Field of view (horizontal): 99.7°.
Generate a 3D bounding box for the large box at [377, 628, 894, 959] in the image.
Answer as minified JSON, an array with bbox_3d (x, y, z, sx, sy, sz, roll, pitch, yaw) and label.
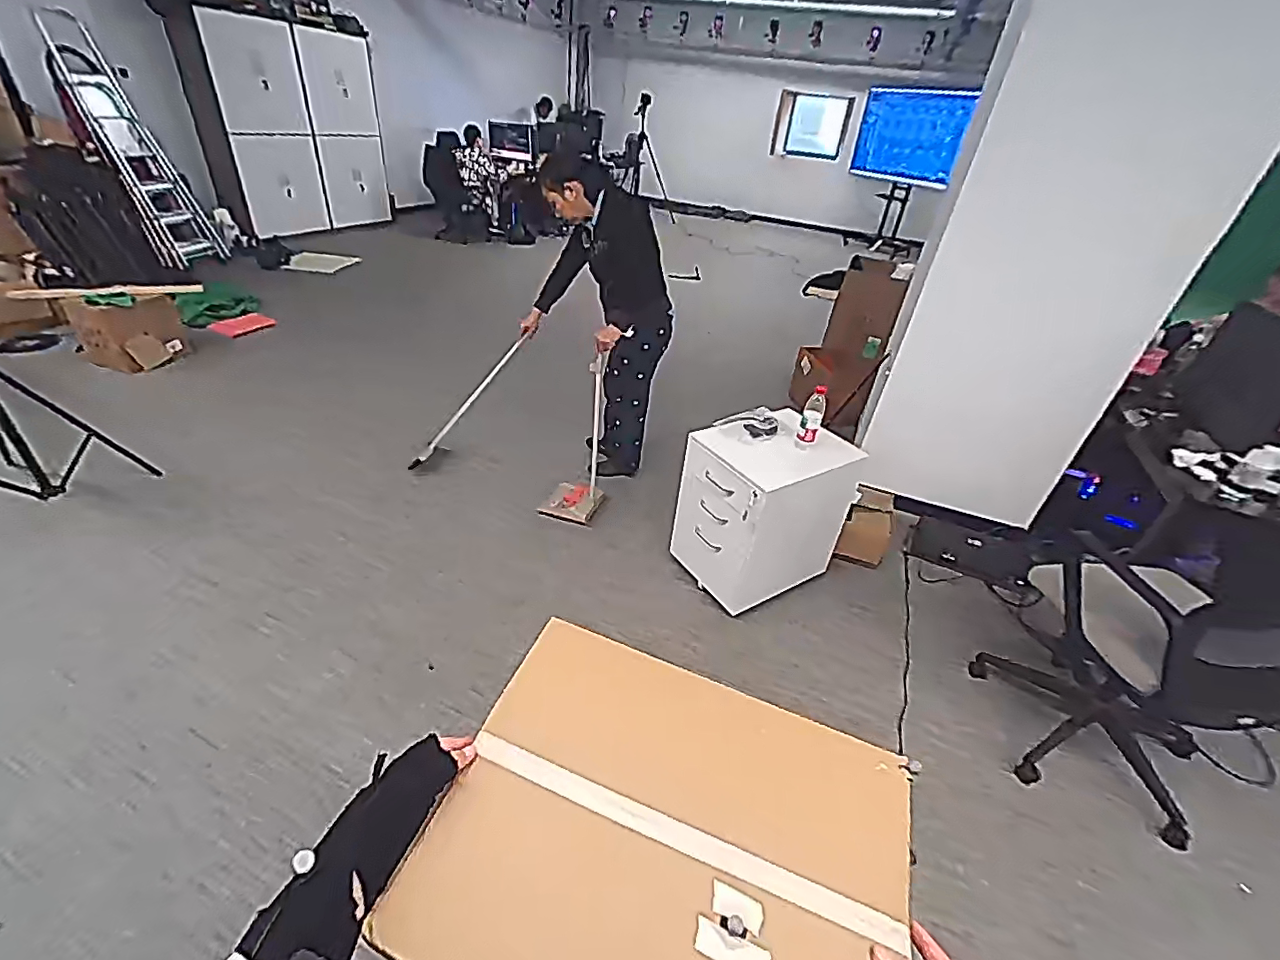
[{"bbox_3d":[0.010,0.432,0.590,0.408,0.320,0.320,19,43,12],"label":"large box"}]
